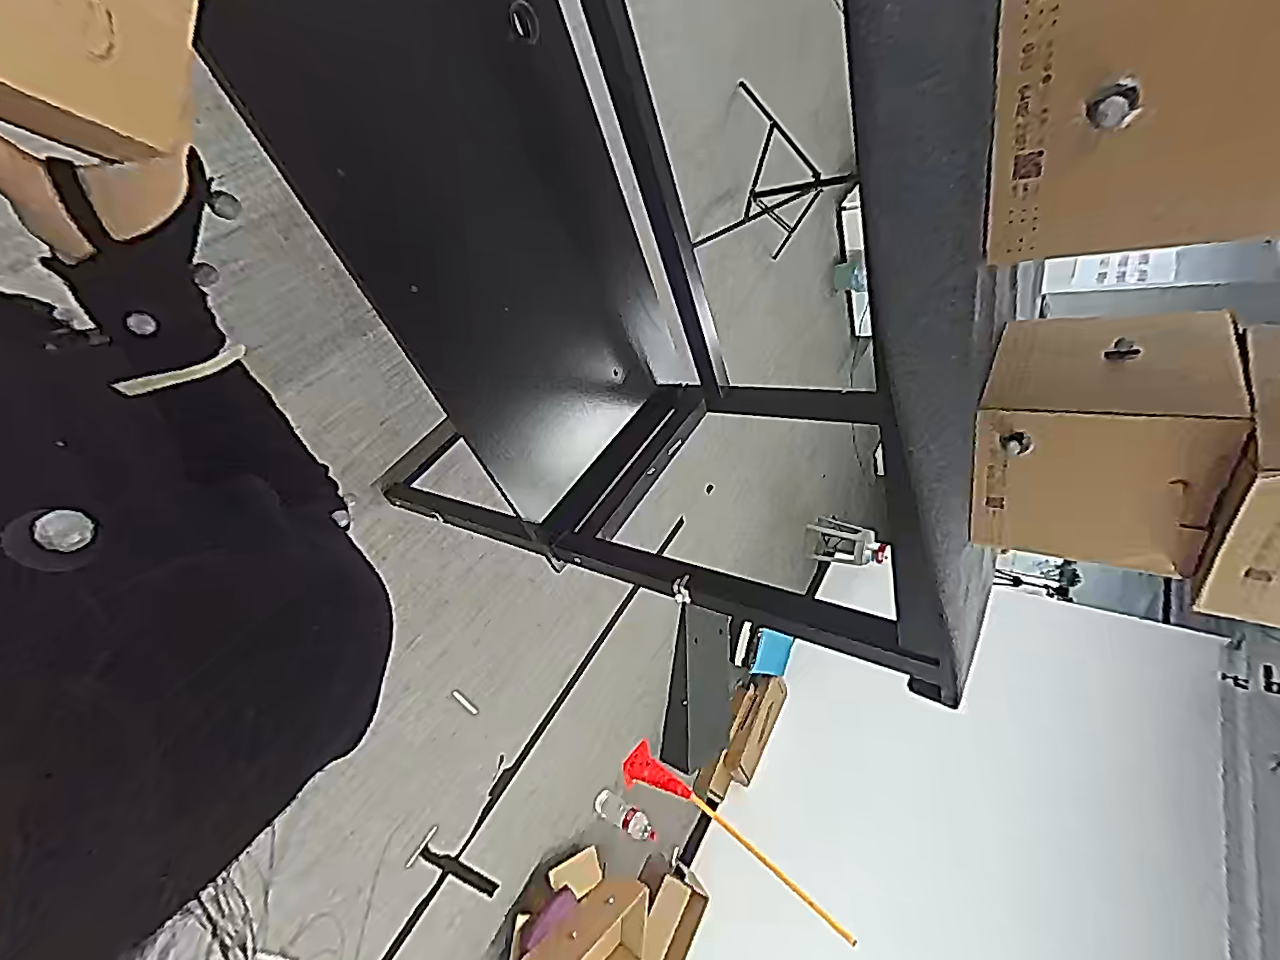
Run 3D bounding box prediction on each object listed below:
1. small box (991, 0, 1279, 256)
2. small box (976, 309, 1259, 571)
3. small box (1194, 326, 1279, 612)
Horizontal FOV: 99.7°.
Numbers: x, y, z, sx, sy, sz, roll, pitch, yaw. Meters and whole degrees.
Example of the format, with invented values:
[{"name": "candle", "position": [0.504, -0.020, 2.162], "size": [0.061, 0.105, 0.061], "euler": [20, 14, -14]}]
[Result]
[{"name": "small box", "position": [0.330, -0.258, 0.331], "size": [0.179, 0.176, 0.168], "euler": [-53, 135, -34]}, {"name": "small box", "position": [0.430, -0.044, 0.514], "size": [0.179, 0.176, 0.168], "euler": [-50, 134, -36]}, {"name": "small box", "position": [0.542, -0.002, 0.400], "size": [0.179, 0.176, 0.168], "euler": [-55, 138, -31]}]
